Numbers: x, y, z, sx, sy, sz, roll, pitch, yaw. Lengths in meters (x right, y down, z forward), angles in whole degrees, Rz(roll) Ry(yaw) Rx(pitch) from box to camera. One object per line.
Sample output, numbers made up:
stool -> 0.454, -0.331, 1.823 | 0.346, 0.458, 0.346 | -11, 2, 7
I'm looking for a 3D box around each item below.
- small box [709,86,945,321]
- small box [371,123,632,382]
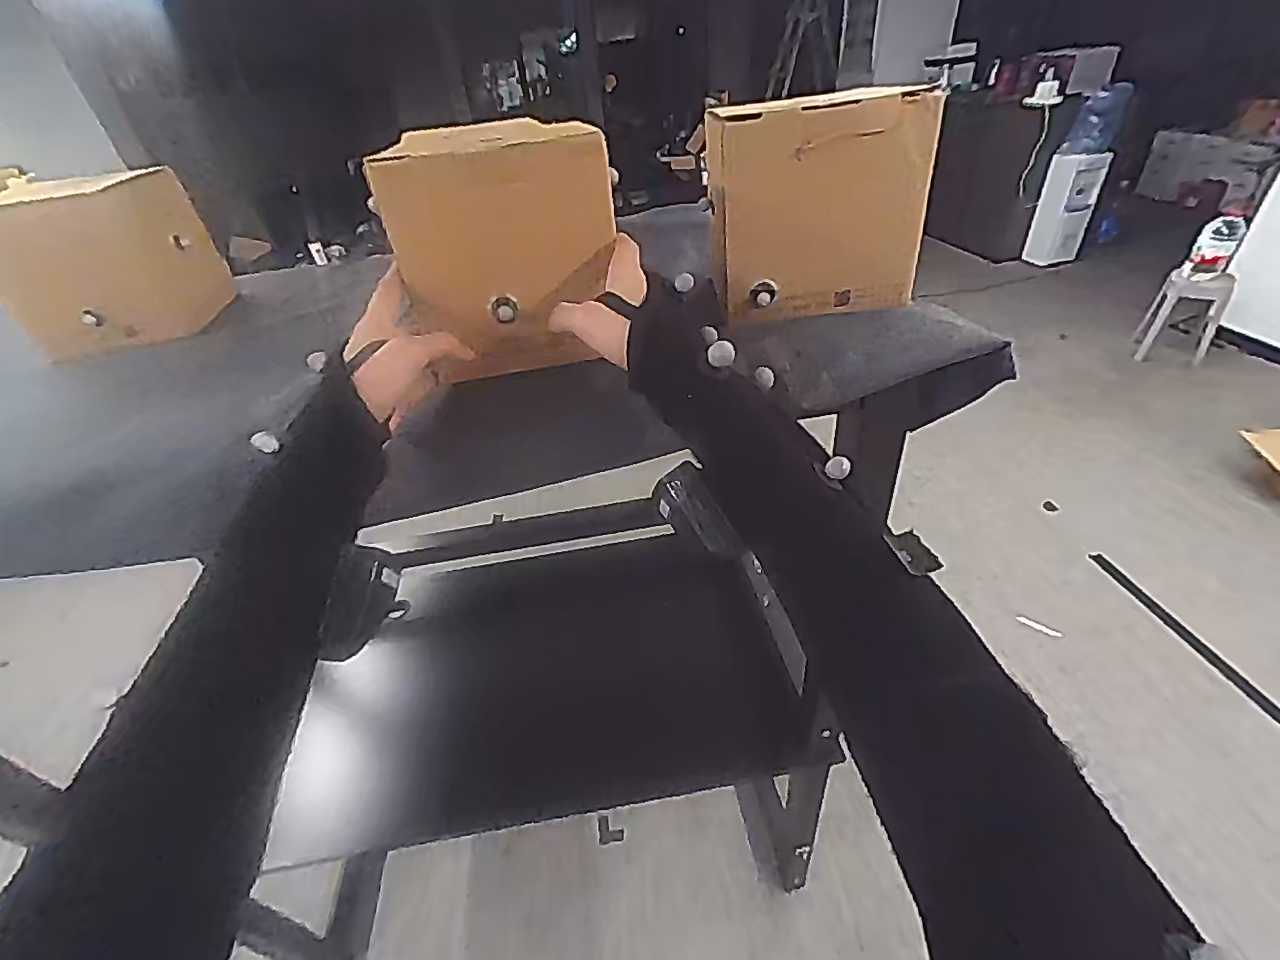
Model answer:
small box -> 0.158, -0.258, 0.516 | 0.168, 0.176, 0.179 | -5, 36, 5
small box -> -0.107, -0.205, 0.478 | 0.168, 0.176, 0.179 | -12, 37, -6
